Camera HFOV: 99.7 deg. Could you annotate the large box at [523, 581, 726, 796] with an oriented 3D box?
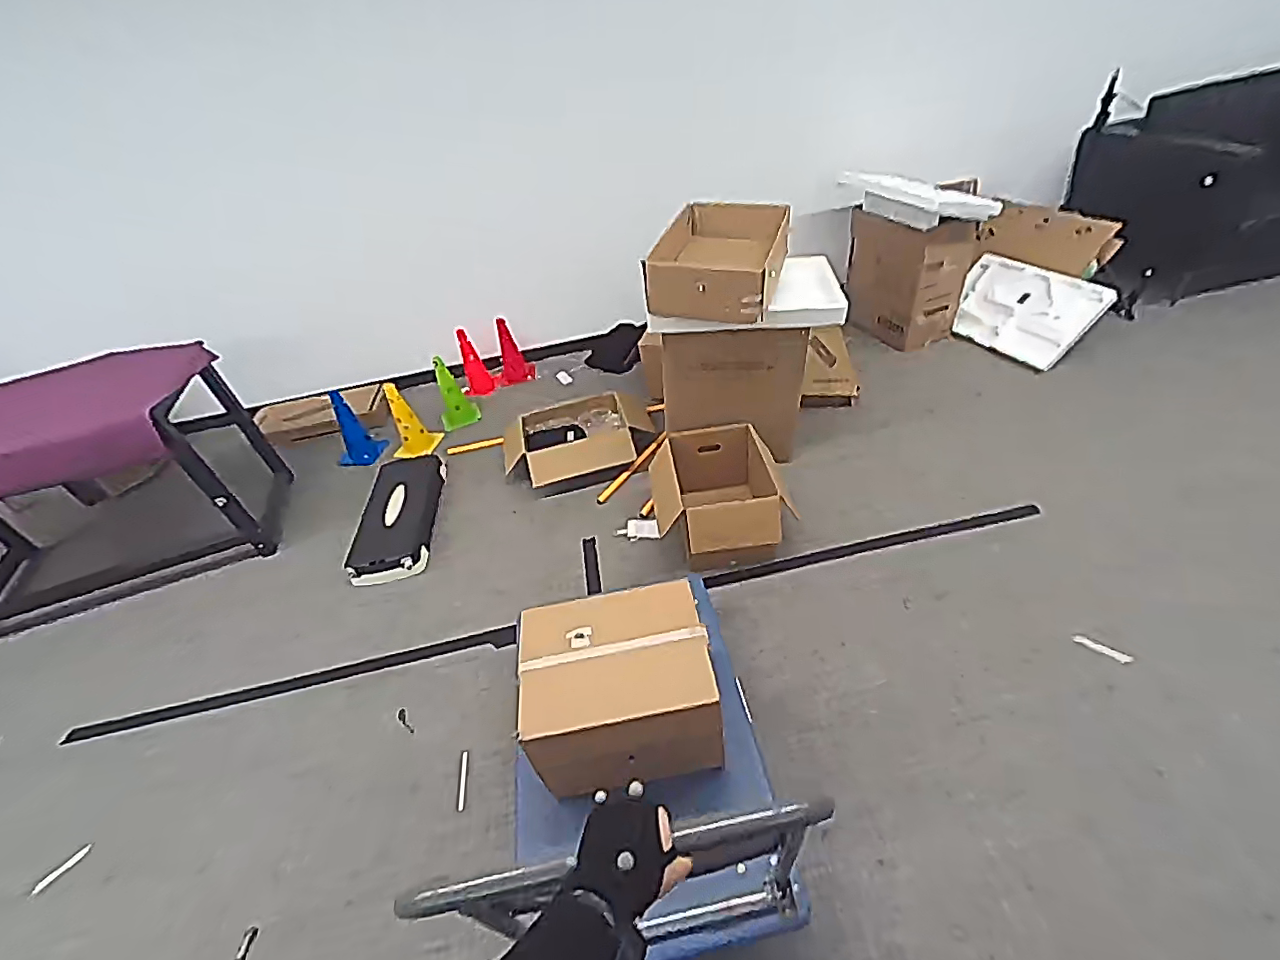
[{"bbox_3d":[-0.036,0.490,1.273,0.408,0.320,0.320,-12,39,-1],"label":"large box"}]
